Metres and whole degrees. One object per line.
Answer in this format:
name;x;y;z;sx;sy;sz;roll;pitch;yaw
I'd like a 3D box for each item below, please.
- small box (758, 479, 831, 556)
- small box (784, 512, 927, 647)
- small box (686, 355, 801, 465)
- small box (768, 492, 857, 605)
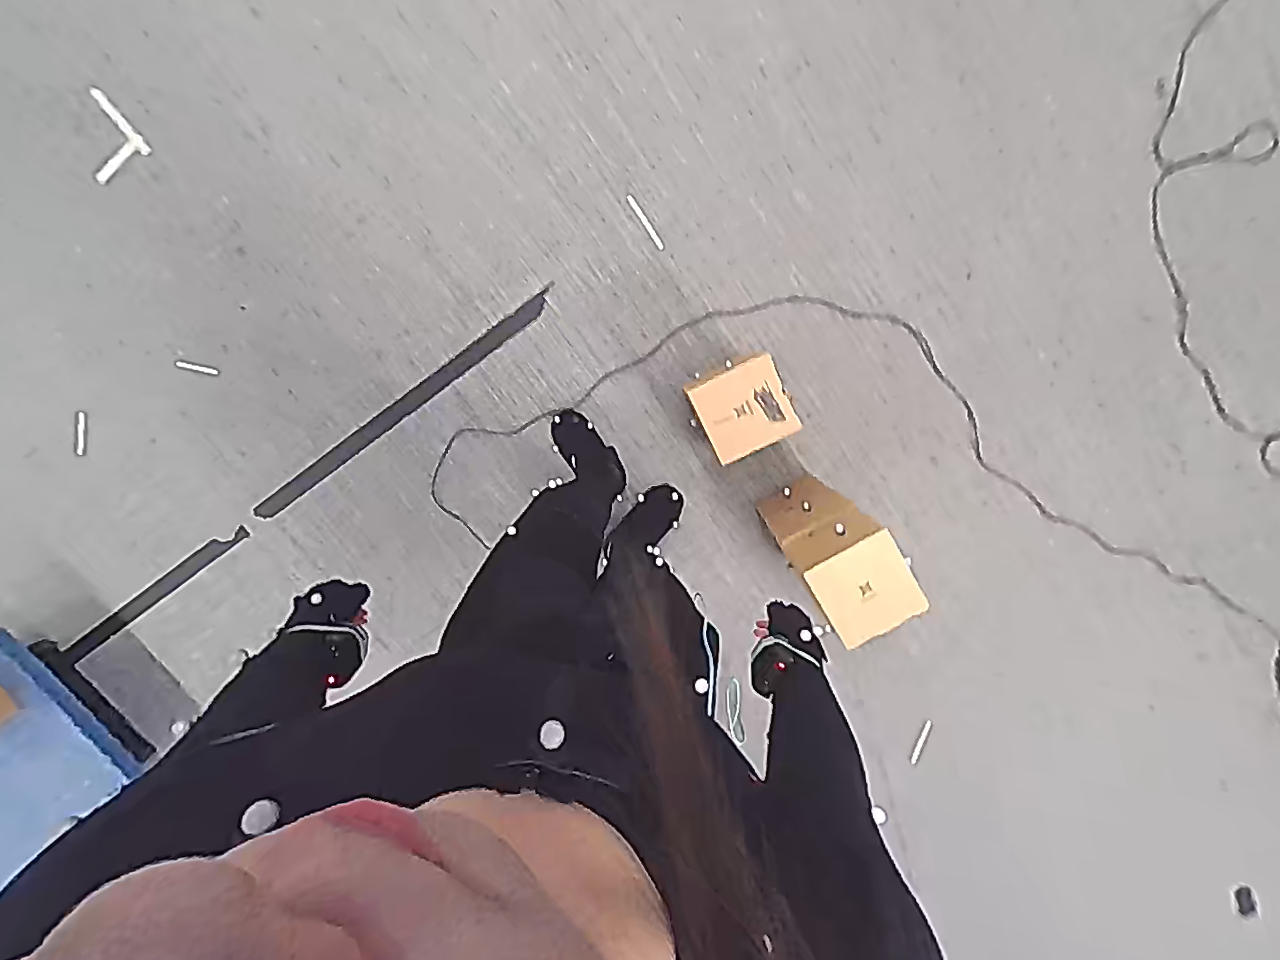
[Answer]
small box;0.415;0.112;1.358;0.168;0.176;0.179;-31;99;8
small box;0.400;0.177;1.036;0.168;0.176;0.179;-31;100;8
small box;0.209;-0.154;1.139;0.179;0.176;0.168;-25;101;8
small box;0.403;0.140;1.195;0.168;0.176;0.179;-29;101;8
